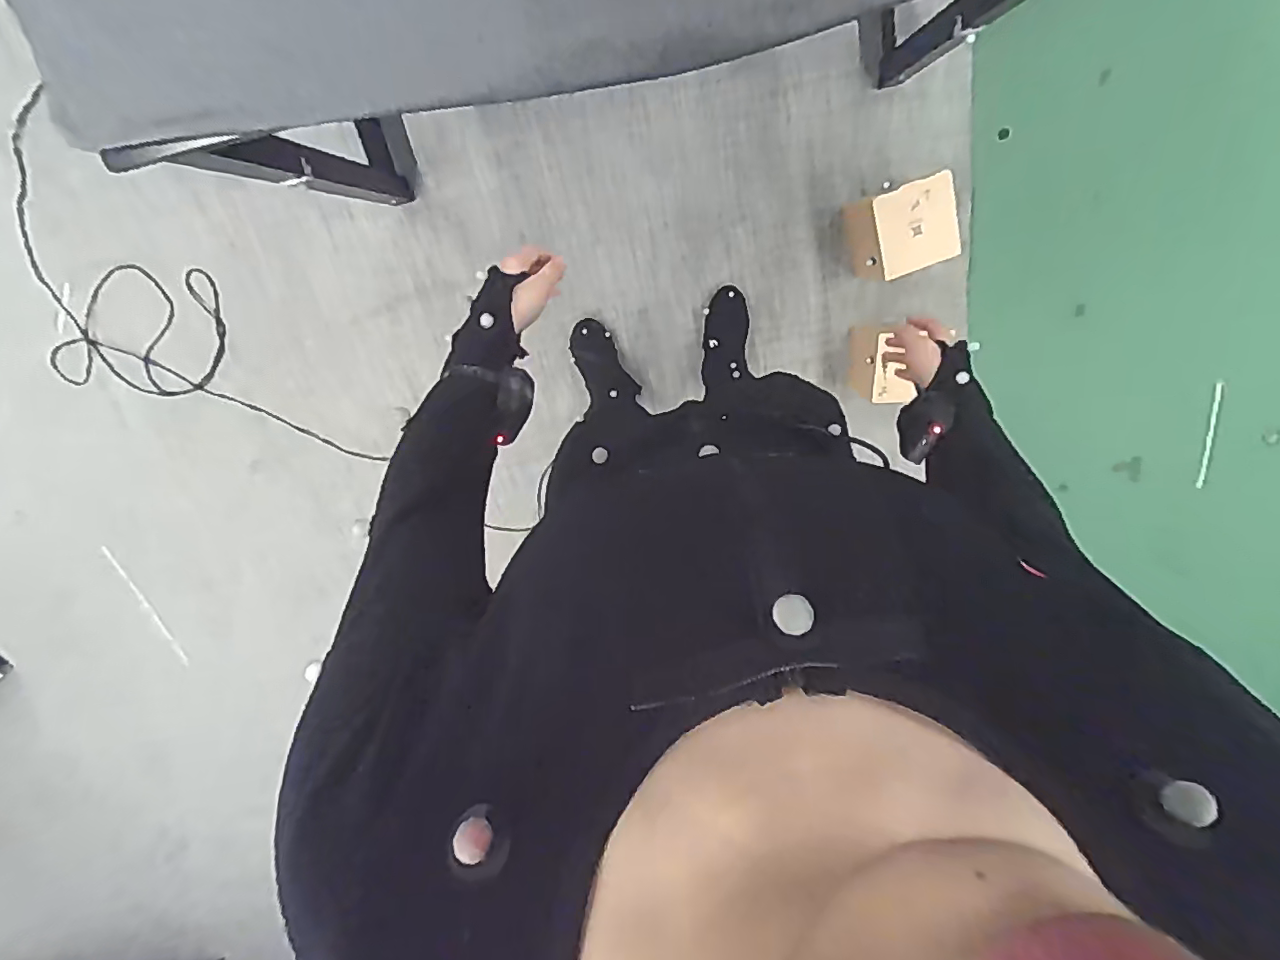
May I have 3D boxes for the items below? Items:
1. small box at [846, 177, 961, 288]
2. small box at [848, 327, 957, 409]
[{"bbox_3d":[0.584,-0.550,1.212,0.168,0.176,0.179,-19,111,7],"label":"small box"},{"bbox_3d":[0.632,-0.279,1.322,0.179,0.176,0.168,-3,113,1],"label":"small box"}]
